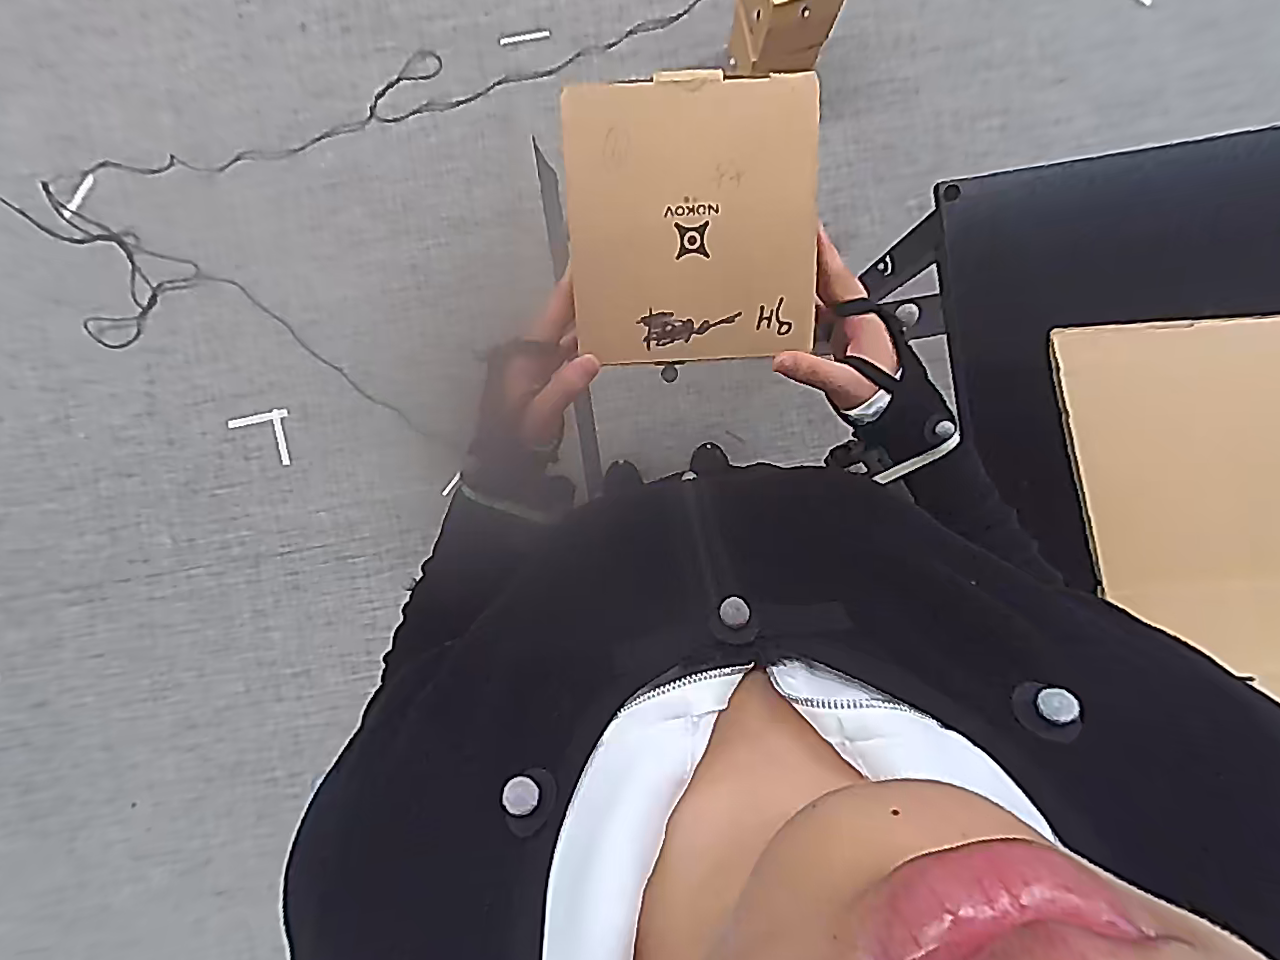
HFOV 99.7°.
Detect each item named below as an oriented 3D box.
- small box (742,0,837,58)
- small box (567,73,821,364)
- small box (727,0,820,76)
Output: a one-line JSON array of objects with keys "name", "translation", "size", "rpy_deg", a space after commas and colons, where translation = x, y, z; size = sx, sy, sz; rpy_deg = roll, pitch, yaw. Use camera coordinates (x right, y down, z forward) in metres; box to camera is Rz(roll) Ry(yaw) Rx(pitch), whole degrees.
[{"name": "small box", "translation": [0.335, -1.096, 1.208], "size": [0.179, 0.176, 0.168], "rpy_deg": [-16, 93, 0]}, {"name": "small box", "translation": [0.036, -0.186, 0.436], "size": [0.168, 0.176, 0.179], "rpy_deg": [-3, 103, 0]}, {"name": "small box", "translation": [0.332, -1.100, 1.370], "size": [0.179, 0.176, 0.168], "rpy_deg": [-13, 92, 2]}]
